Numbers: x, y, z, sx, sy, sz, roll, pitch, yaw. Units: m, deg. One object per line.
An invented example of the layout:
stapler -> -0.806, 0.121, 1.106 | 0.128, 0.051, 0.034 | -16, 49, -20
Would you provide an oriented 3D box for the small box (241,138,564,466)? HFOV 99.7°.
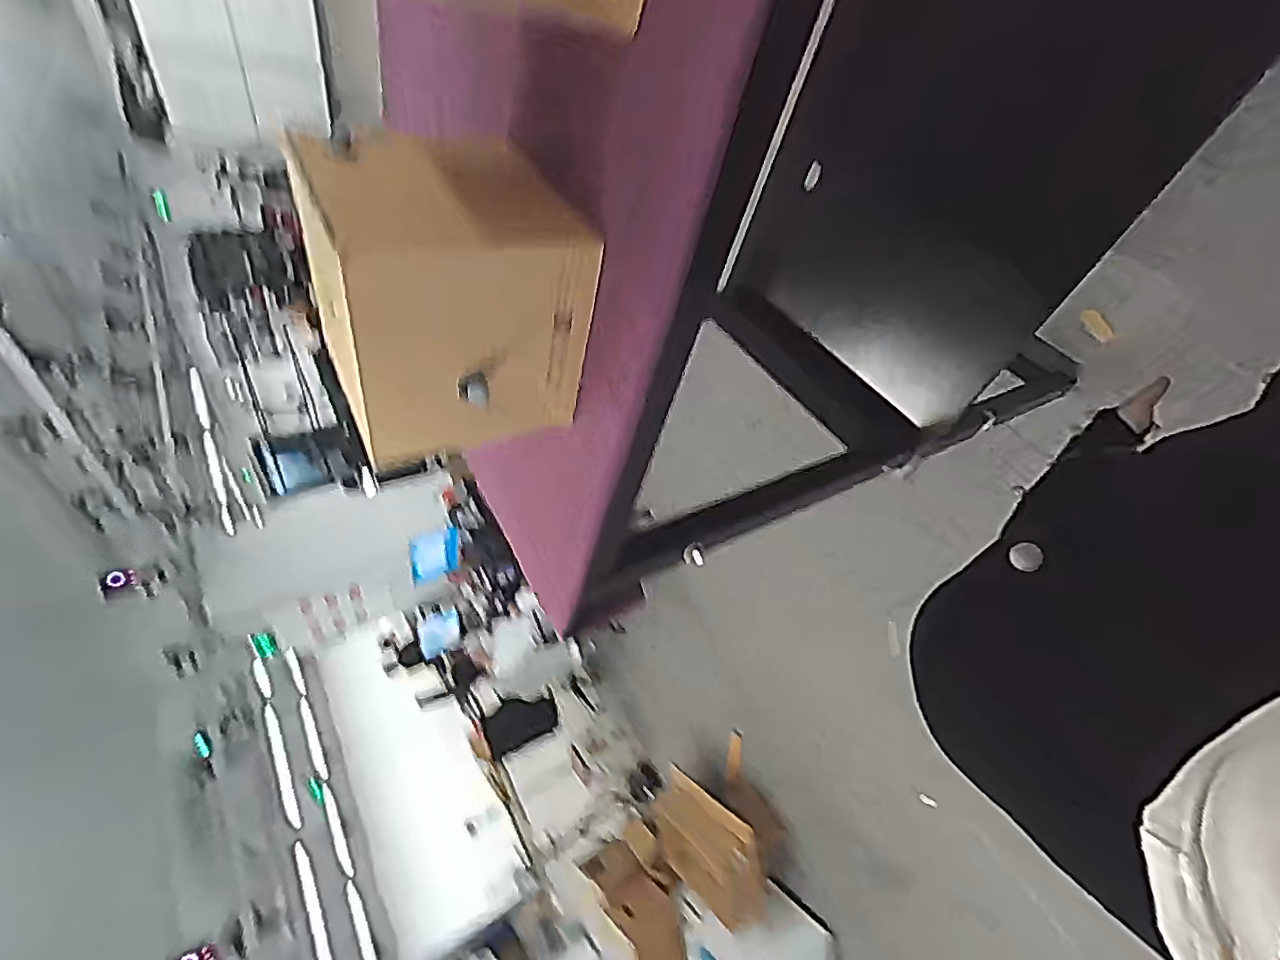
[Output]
small box -> -0.174, -0.143, 0.422 | 0.179, 0.176, 0.168 | 54, 145, 29
